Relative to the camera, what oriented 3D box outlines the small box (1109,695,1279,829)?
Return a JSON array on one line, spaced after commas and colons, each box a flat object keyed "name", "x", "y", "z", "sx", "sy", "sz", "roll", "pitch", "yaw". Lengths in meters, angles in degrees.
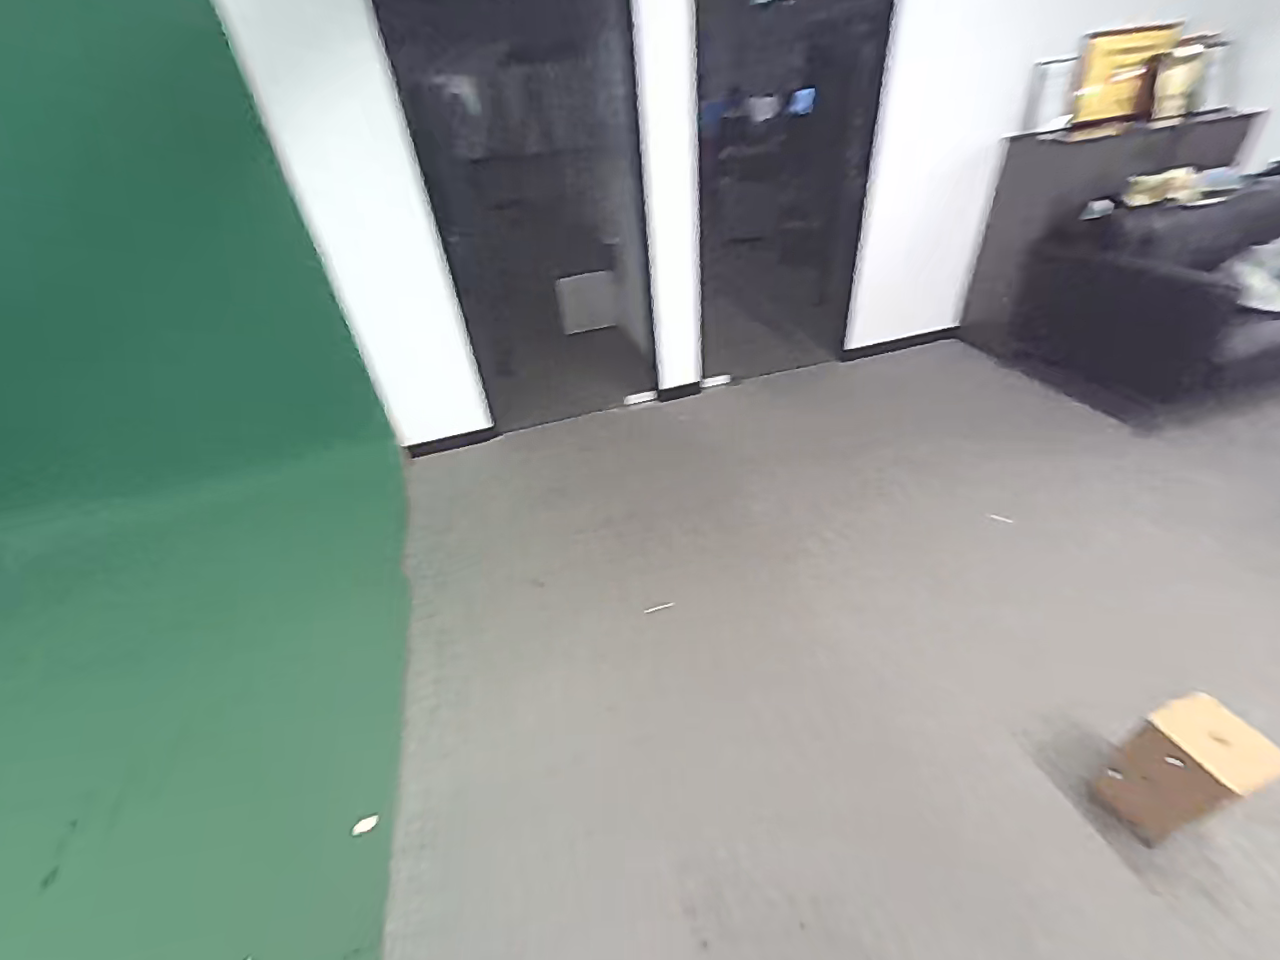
[{"name": "small box", "x": 1.188, "y": 0.611, "z": 1.174, "sx": 0.168, "sy": 0.176, "sz": 0.179, "roll": -15, "pitch": 38, "yaw": -12}]
